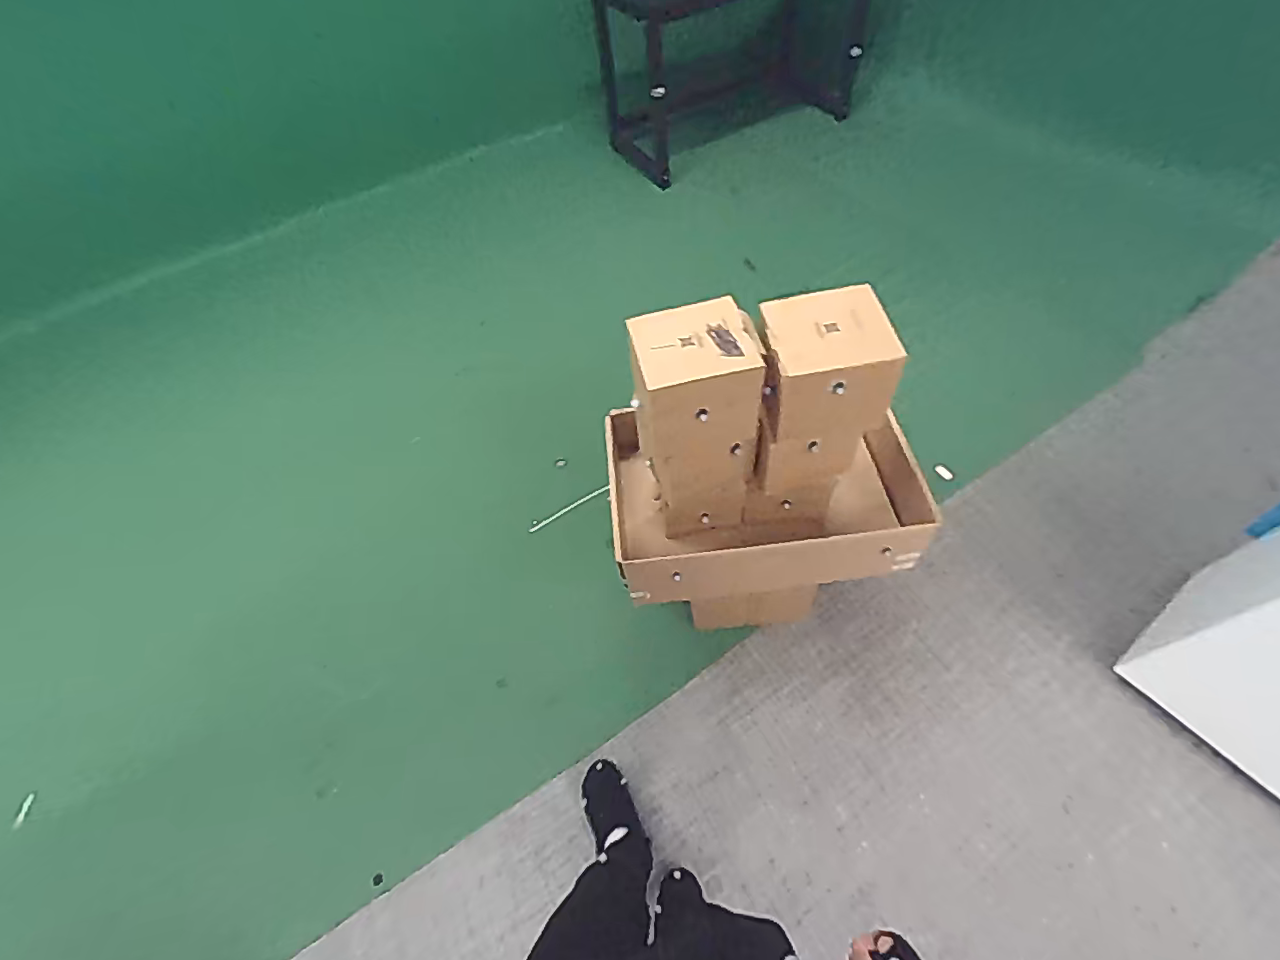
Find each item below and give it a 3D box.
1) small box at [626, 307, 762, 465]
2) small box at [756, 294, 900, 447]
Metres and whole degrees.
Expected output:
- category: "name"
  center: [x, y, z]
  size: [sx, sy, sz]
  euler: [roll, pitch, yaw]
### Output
- category: "small box"
  center: [0.084, -0.149, 0.886]
  size: [0.179, 0.176, 0.168]
  euler: [-14, 54, -2]
- category: "small box"
  center: [0.291, -0.171, 0.881]
  size: [0.179, 0.176, 0.168]
  euler: [-9, 55, 4]
